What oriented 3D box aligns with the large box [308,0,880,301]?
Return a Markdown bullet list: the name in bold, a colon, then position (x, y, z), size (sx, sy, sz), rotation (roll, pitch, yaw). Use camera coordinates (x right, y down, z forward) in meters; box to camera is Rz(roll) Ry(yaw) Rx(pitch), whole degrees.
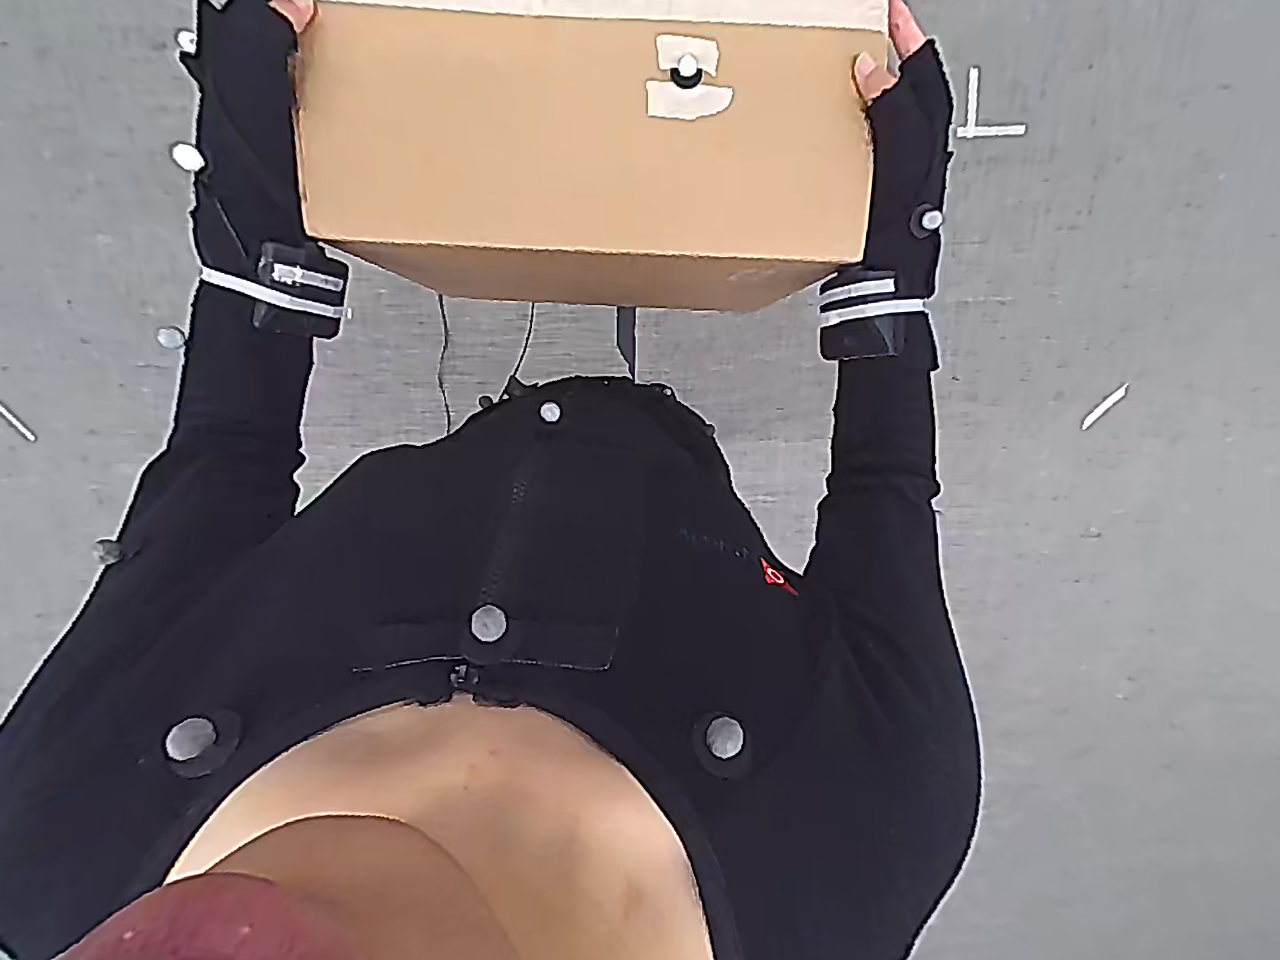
- **large box**: position (-0.035, -0.357, 0.522), size (0.408, 0.320, 0.320), rotation (1, 101, -2)
